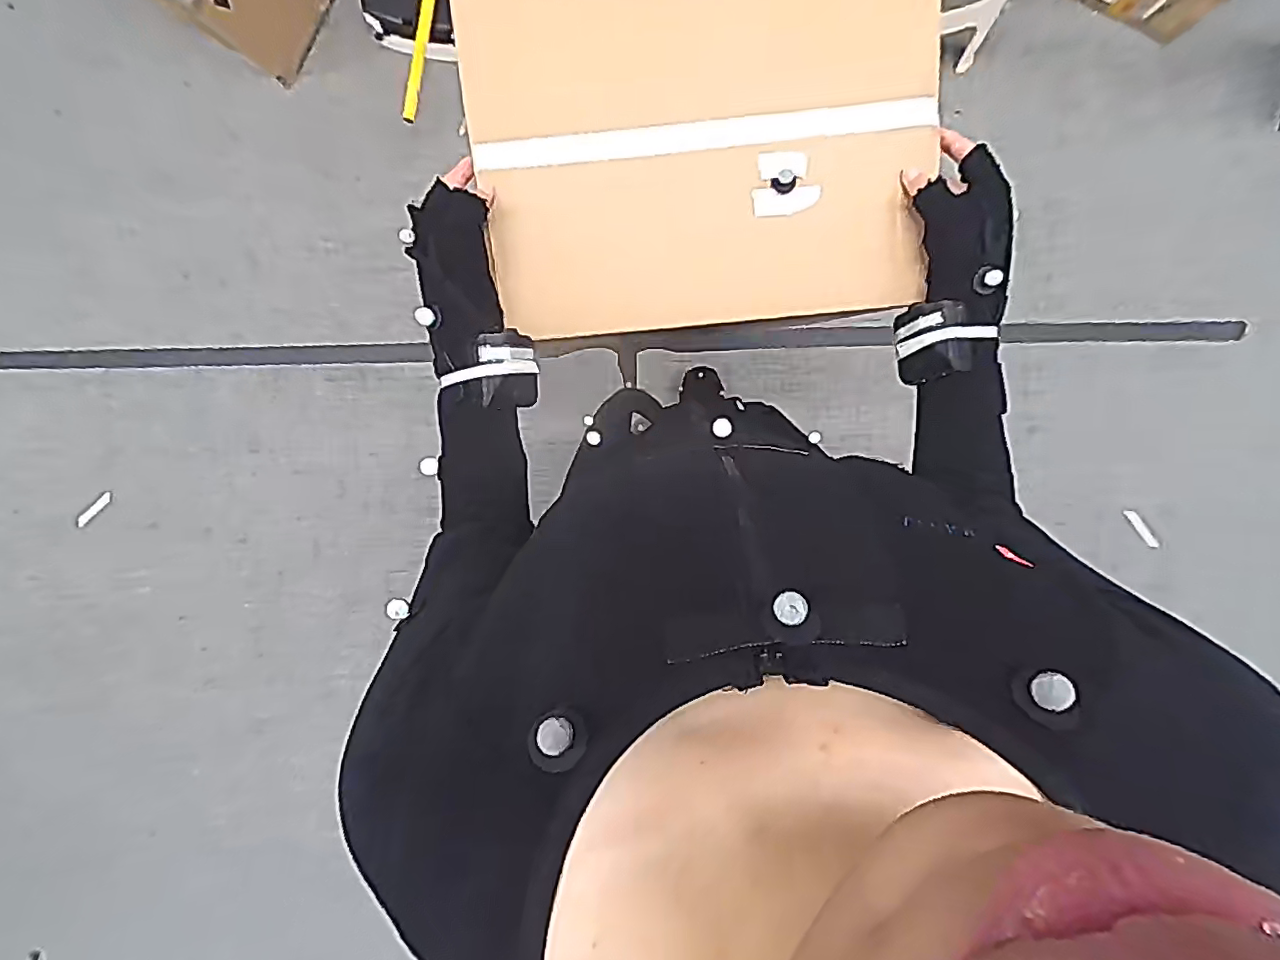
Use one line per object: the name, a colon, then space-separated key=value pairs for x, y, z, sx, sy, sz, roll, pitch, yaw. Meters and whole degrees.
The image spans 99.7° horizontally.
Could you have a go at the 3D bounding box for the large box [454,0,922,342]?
large box: x=0.048 y=-0.344 z=0.627 sx=0.408 sy=0.320 sz=0.320 roll=-5 pitch=103 yaw=0
